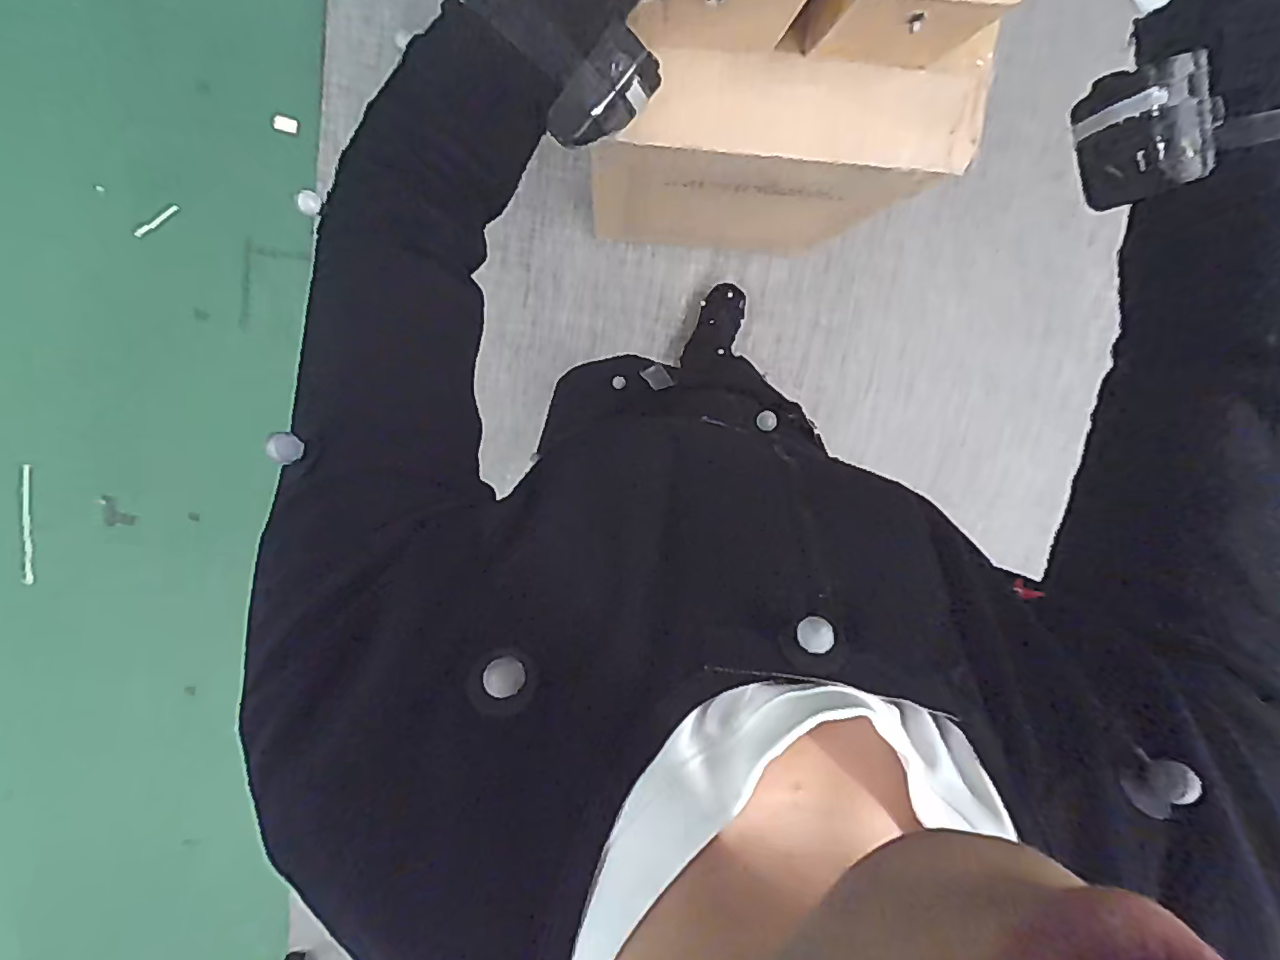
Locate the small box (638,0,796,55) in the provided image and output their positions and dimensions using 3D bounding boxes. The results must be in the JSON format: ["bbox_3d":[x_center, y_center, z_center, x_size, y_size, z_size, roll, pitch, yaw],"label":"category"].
[{"bbox_3d":[0.091,-0.604,0.597,0.179,0.176,0.168,1,108,-6],"label":"small box"}]

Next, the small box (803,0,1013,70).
[{"bbox_3d":[0.304,-0.599,0.617,0.179,0.176,0.168,-1,109,-6],"label":"small box"}]
